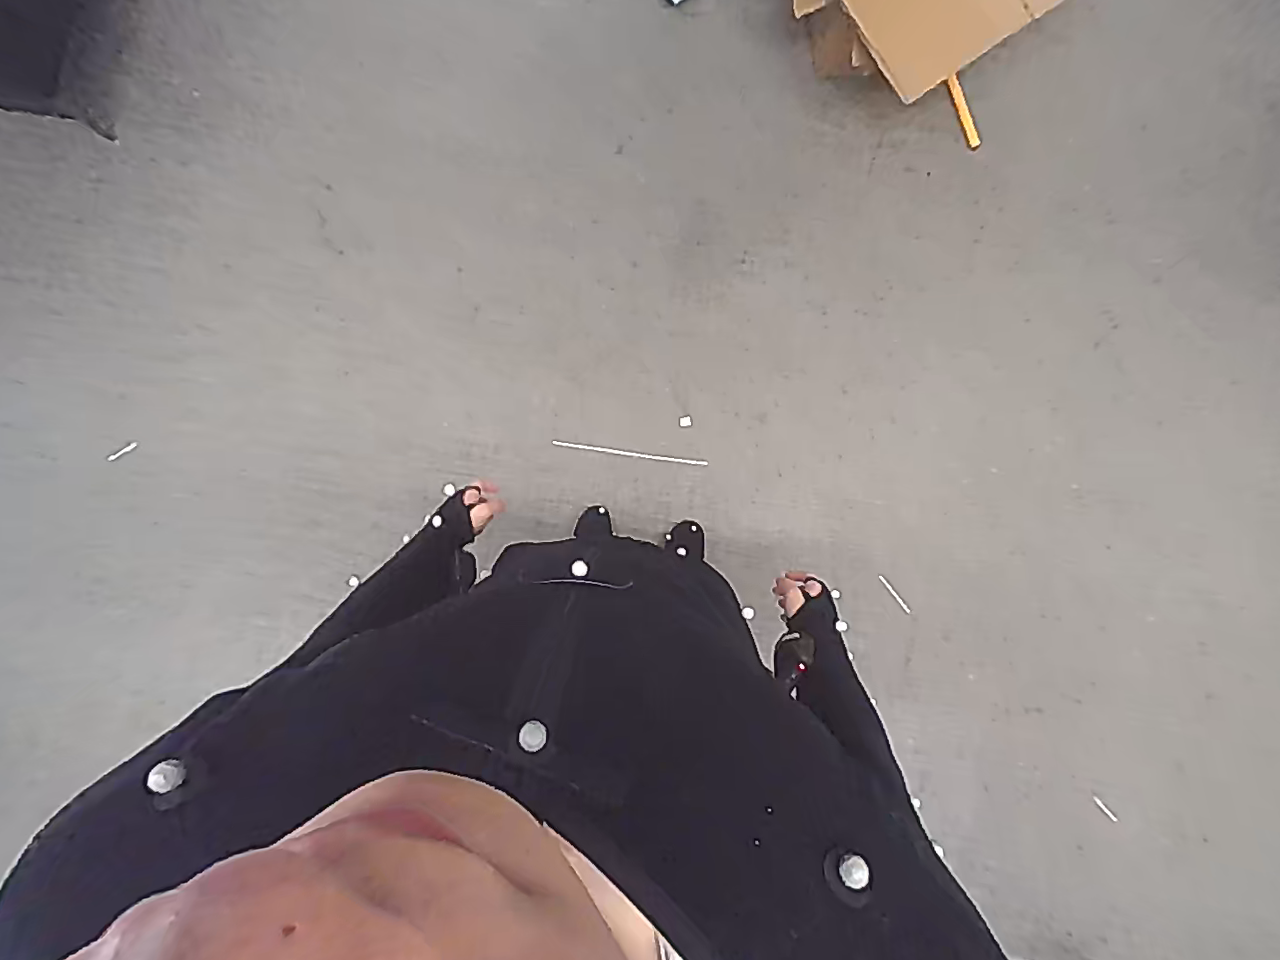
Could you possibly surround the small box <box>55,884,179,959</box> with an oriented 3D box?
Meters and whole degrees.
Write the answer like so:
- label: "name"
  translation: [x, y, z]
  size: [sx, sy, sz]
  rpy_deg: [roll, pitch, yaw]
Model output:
- label: "small box"
  translation: [-1.412, 1.243, 1.462]
  size: [0.179, 0.176, 0.168]
  rpy_deg: [13, 87, 1]
